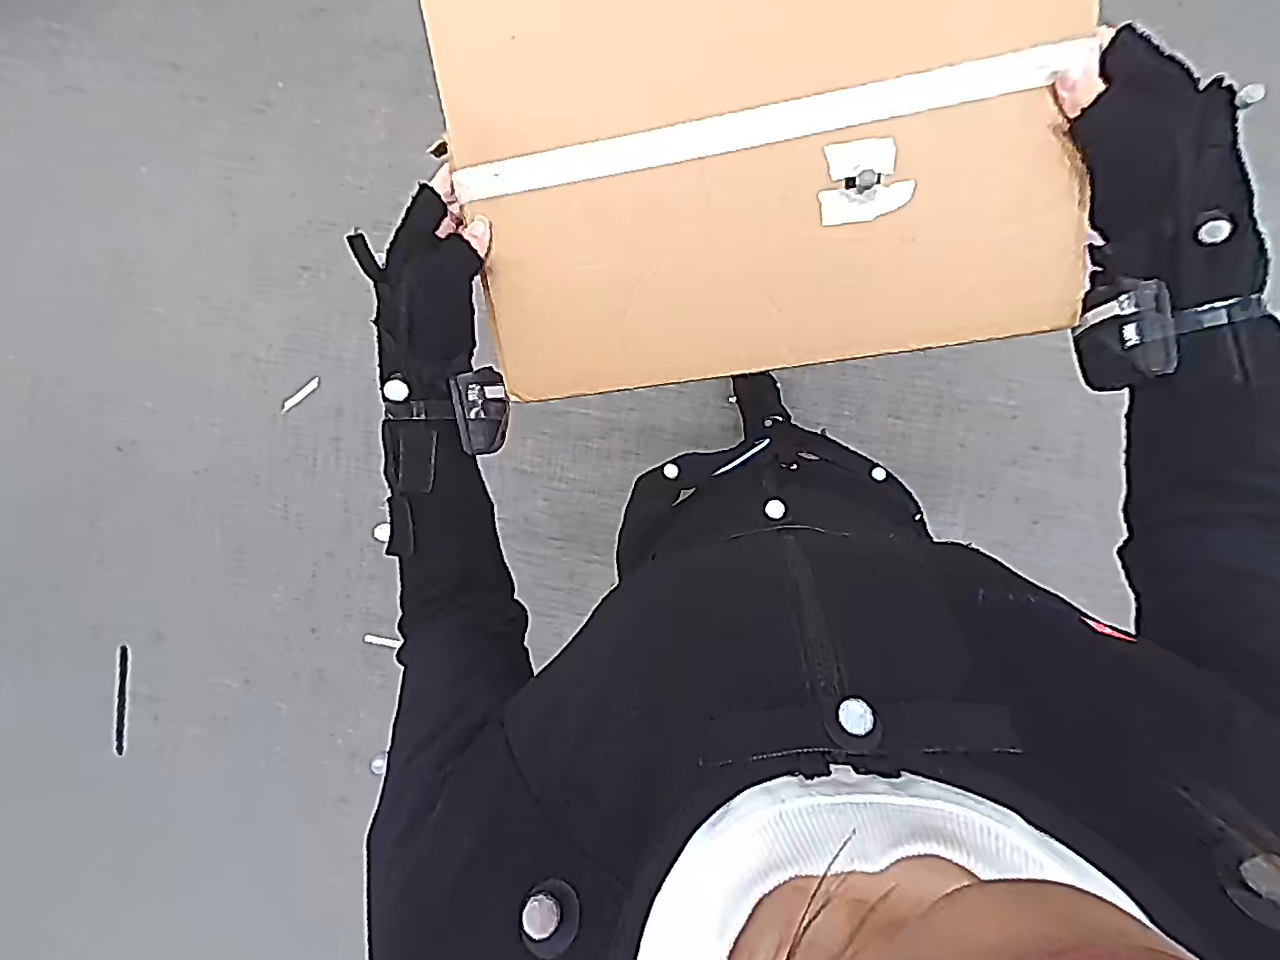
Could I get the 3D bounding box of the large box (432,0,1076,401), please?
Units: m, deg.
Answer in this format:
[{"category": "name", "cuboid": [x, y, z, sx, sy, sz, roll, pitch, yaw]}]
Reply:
[{"category": "large box", "cuboid": [0.088, -0.276, 0.508, 0.408, 0.320, 0.320, -8, 106, 8]}]
